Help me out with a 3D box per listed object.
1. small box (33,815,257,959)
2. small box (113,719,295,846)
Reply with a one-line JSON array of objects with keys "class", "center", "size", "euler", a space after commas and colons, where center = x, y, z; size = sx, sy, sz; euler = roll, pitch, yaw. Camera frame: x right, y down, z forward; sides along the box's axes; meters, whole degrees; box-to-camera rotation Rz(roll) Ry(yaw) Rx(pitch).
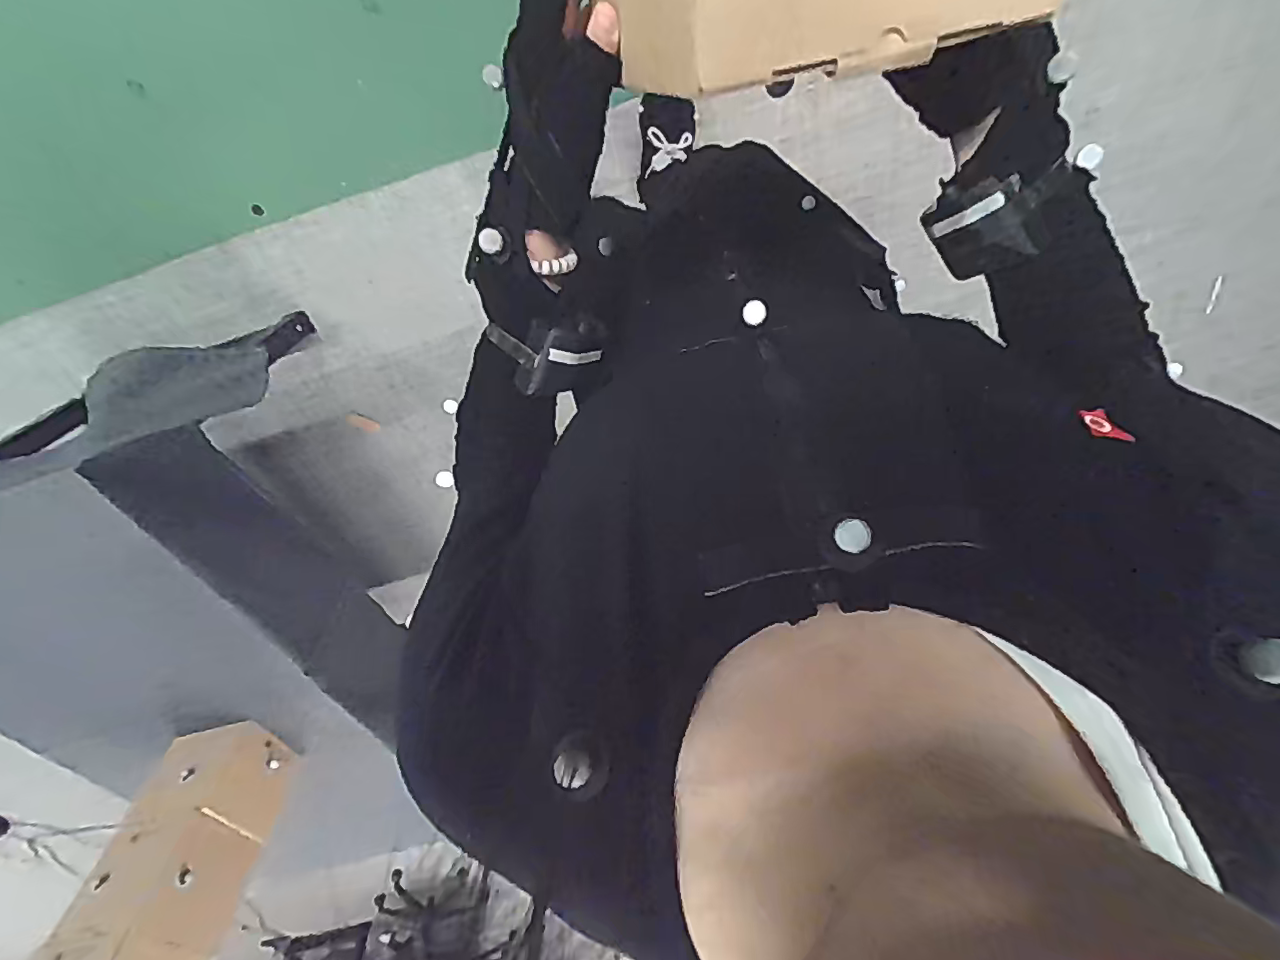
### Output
[{"class": "small box", "center": [-0.802, 0.685, 0.901], "size": [0.168, 0.176, 0.179], "euler": [-17, 125, 7]}, {"class": "small box", "center": [-0.813, 0.588, 1.032], "size": [0.179, 0.176, 0.168], "euler": [-16, 125, 5]}]
